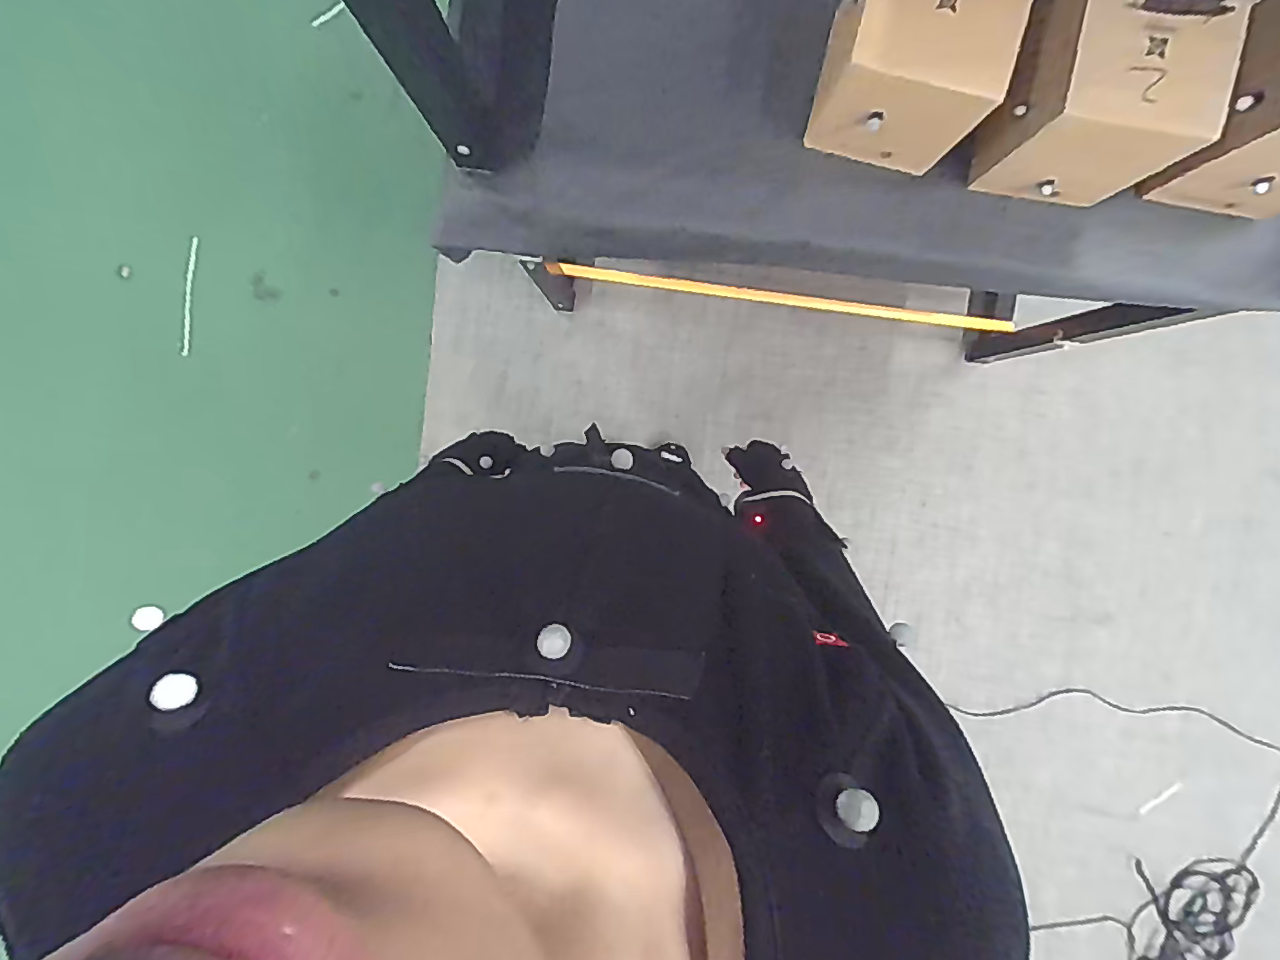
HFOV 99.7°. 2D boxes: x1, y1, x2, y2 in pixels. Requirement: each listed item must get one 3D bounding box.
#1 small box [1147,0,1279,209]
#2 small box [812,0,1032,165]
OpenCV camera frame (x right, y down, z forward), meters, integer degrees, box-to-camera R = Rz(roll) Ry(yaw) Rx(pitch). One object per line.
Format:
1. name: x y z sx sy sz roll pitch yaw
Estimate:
1. small box: 0.752 -0.442 0.625 0.168 0.176 0.179 11 95 -1
2. small box: 0.315 -0.503 0.624 0.168 0.176 0.179 14 95 -1
